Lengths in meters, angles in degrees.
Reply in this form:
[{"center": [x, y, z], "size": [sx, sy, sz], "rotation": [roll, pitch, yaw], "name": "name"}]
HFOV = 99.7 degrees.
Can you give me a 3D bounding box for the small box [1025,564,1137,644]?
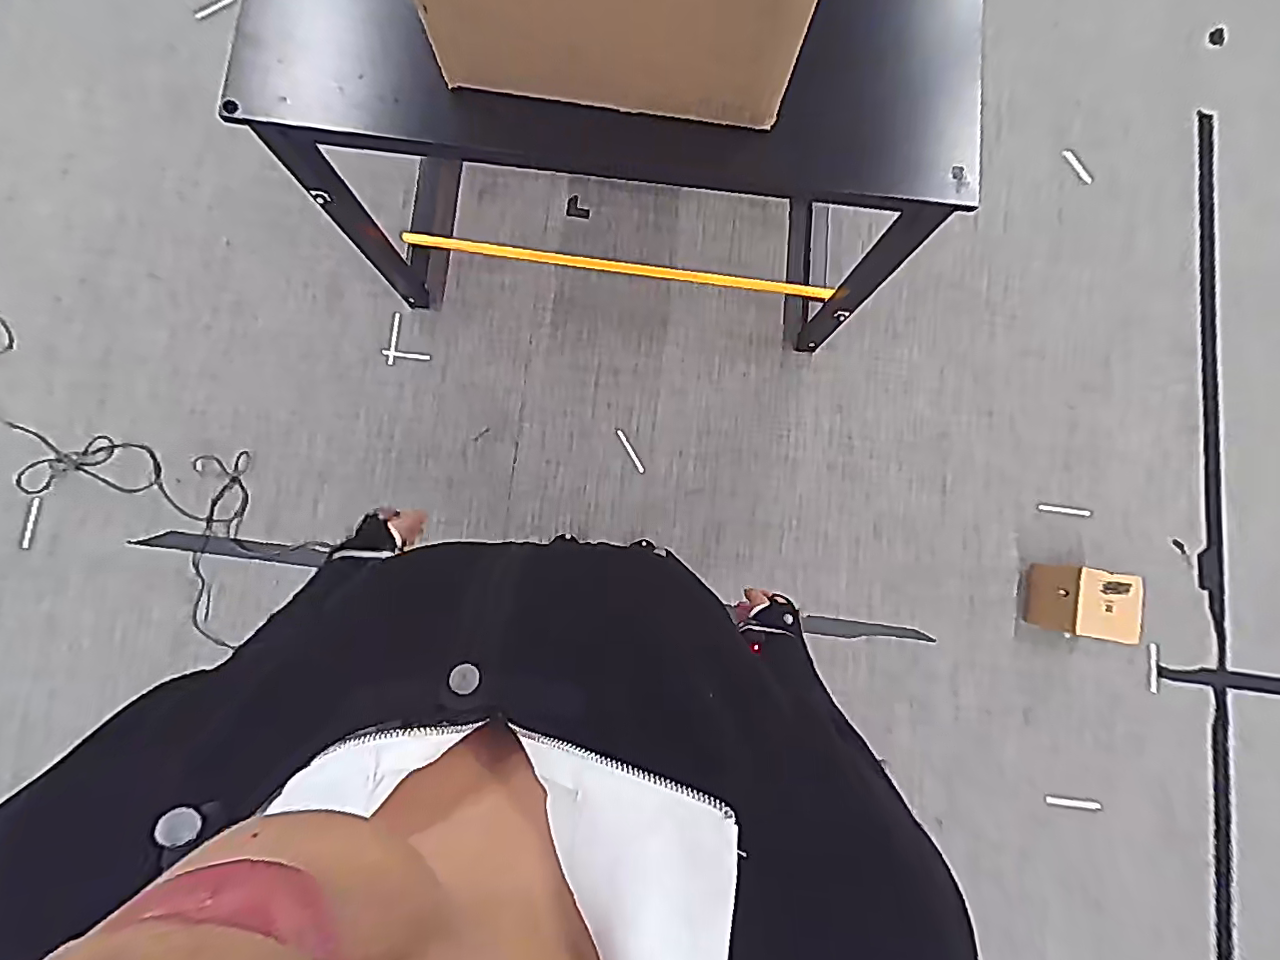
[{"center": [1.183, 0.328, 1.462], "size": [0.168, 0.176, 0.179], "rotation": [10, 84, -1], "name": "small box"}]
